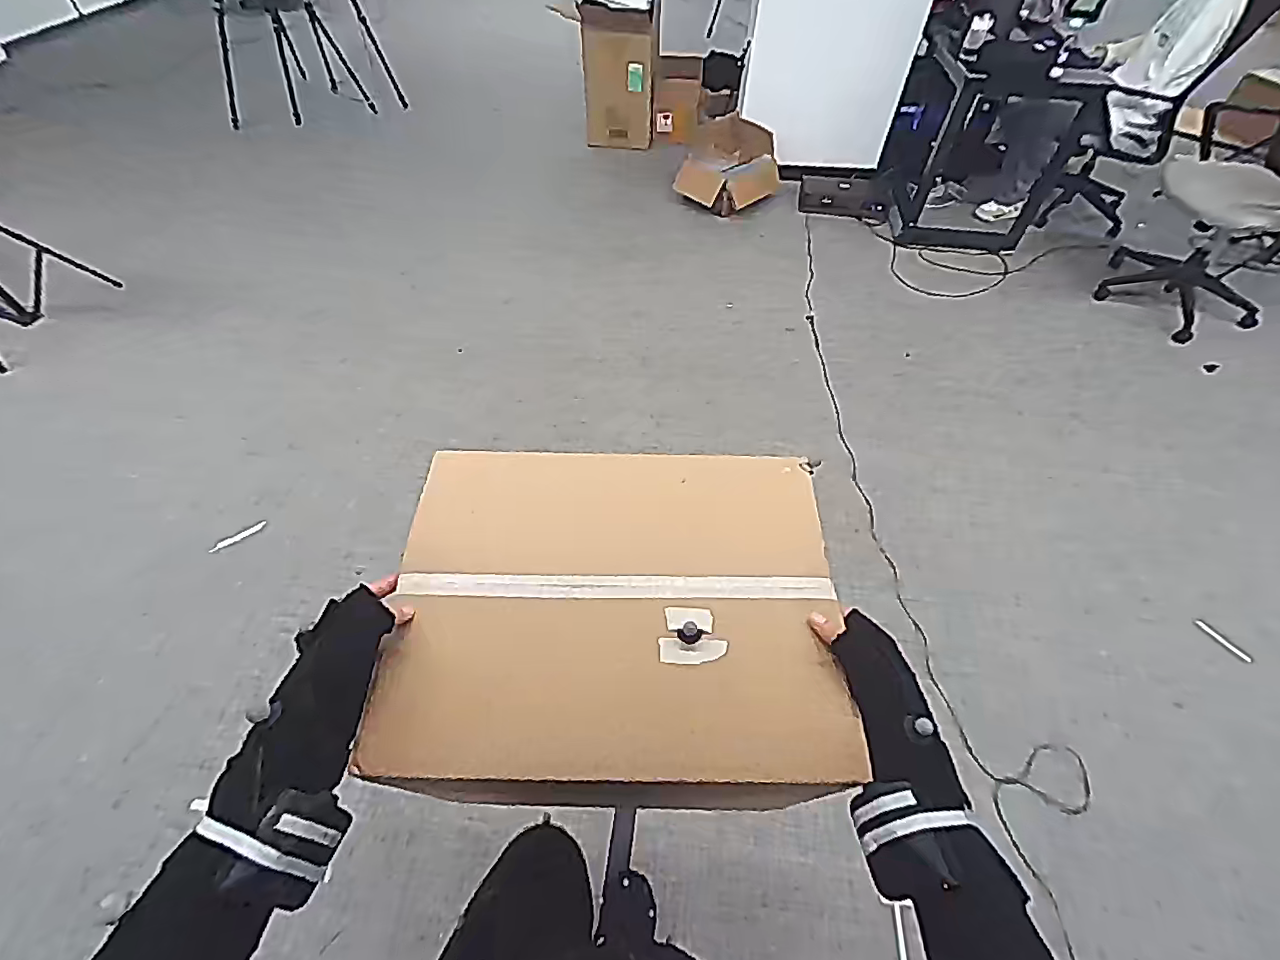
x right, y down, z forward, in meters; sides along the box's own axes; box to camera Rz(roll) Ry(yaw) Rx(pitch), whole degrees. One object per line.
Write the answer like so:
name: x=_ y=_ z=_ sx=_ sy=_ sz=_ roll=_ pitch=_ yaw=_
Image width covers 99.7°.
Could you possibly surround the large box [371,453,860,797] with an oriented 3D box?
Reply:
large box: x=-0.021 y=0.183 z=0.638 sx=0.408 sy=0.320 sz=0.320 roll=1 pitch=56 yaw=0
